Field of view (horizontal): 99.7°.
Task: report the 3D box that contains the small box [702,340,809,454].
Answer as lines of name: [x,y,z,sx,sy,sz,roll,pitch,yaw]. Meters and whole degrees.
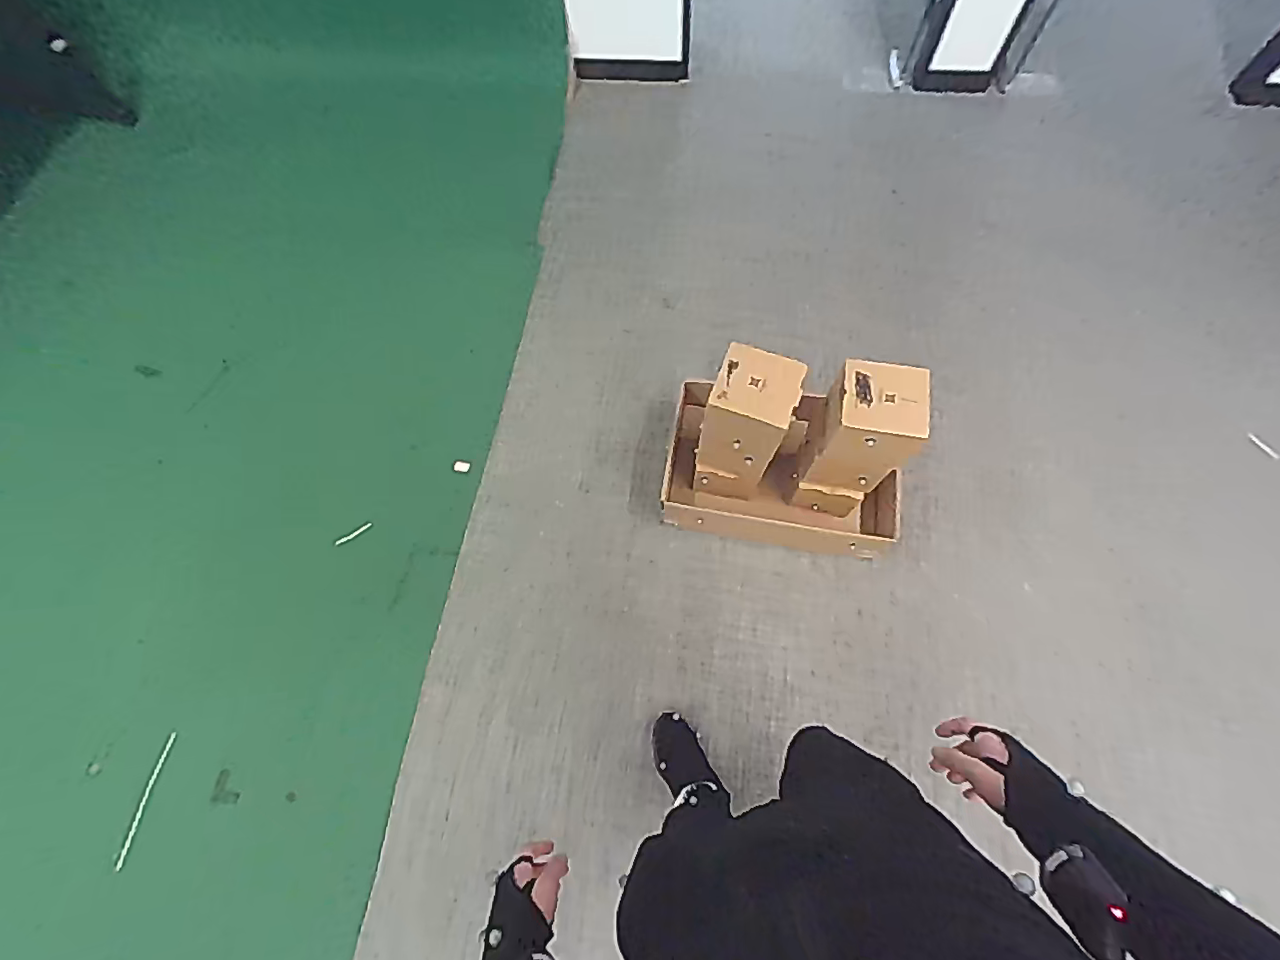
small box: [0.252,-0.177,1.213,0.179,0.176,0.168,21,71,8]

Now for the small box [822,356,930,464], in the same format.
small box: [0.512,-0.149,1.191,0.179,0.176,0.168,10,70,7]
